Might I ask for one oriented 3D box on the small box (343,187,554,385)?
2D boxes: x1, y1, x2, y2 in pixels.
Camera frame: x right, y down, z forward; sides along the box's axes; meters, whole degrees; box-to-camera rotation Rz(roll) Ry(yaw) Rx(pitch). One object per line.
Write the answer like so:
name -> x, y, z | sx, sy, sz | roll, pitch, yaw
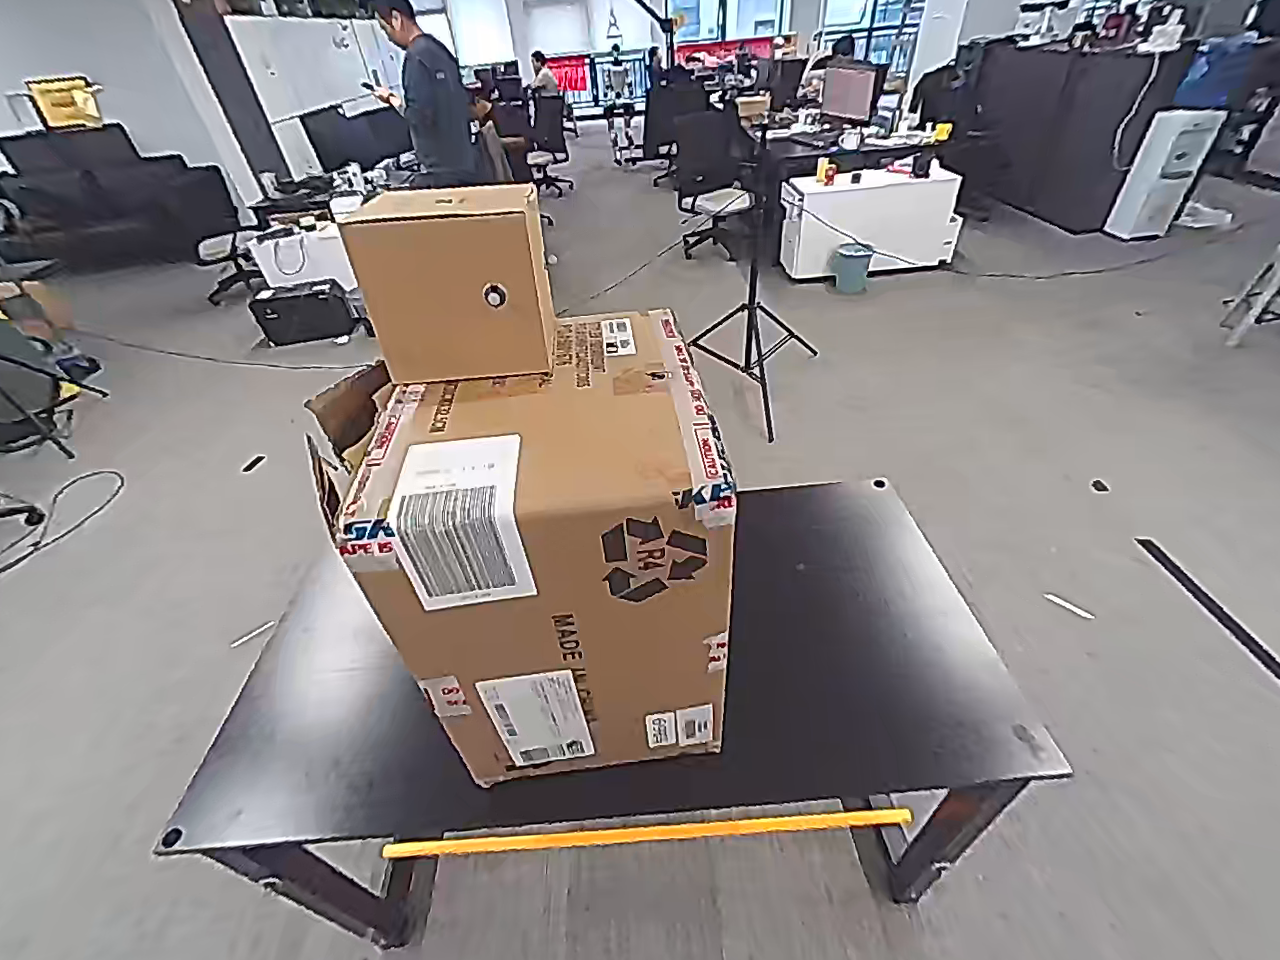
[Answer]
small box -> -0.196, -0.223, 0.620 | 0.179, 0.176, 0.168 | -6, 37, -3
